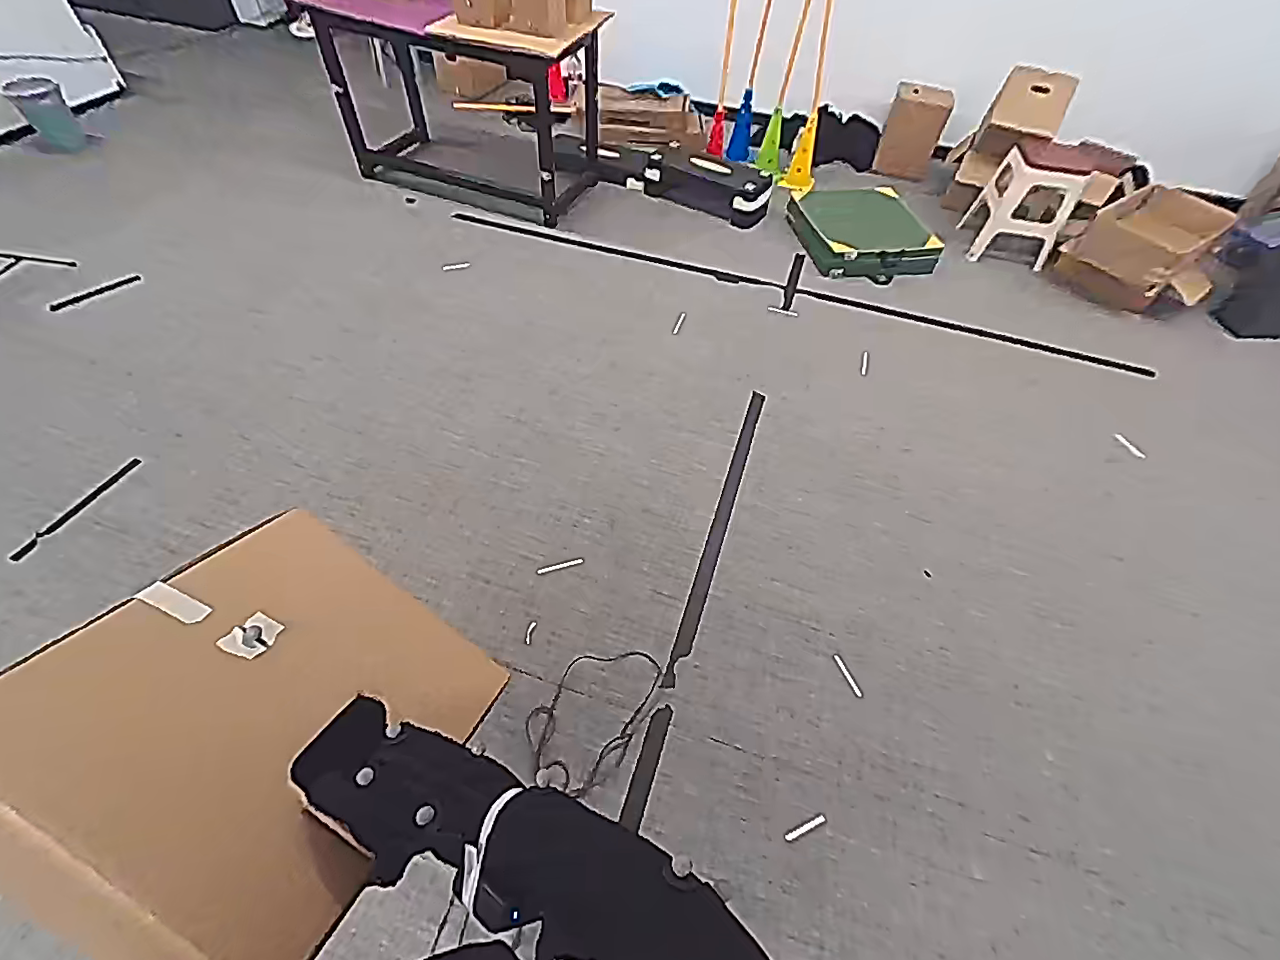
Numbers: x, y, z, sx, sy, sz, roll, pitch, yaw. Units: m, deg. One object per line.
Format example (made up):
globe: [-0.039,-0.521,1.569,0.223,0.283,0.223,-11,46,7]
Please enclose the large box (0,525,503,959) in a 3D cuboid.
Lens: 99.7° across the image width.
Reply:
large box: [-0.427,0.327,0.610,0.320,0.408,0.320,40,34,-2]
